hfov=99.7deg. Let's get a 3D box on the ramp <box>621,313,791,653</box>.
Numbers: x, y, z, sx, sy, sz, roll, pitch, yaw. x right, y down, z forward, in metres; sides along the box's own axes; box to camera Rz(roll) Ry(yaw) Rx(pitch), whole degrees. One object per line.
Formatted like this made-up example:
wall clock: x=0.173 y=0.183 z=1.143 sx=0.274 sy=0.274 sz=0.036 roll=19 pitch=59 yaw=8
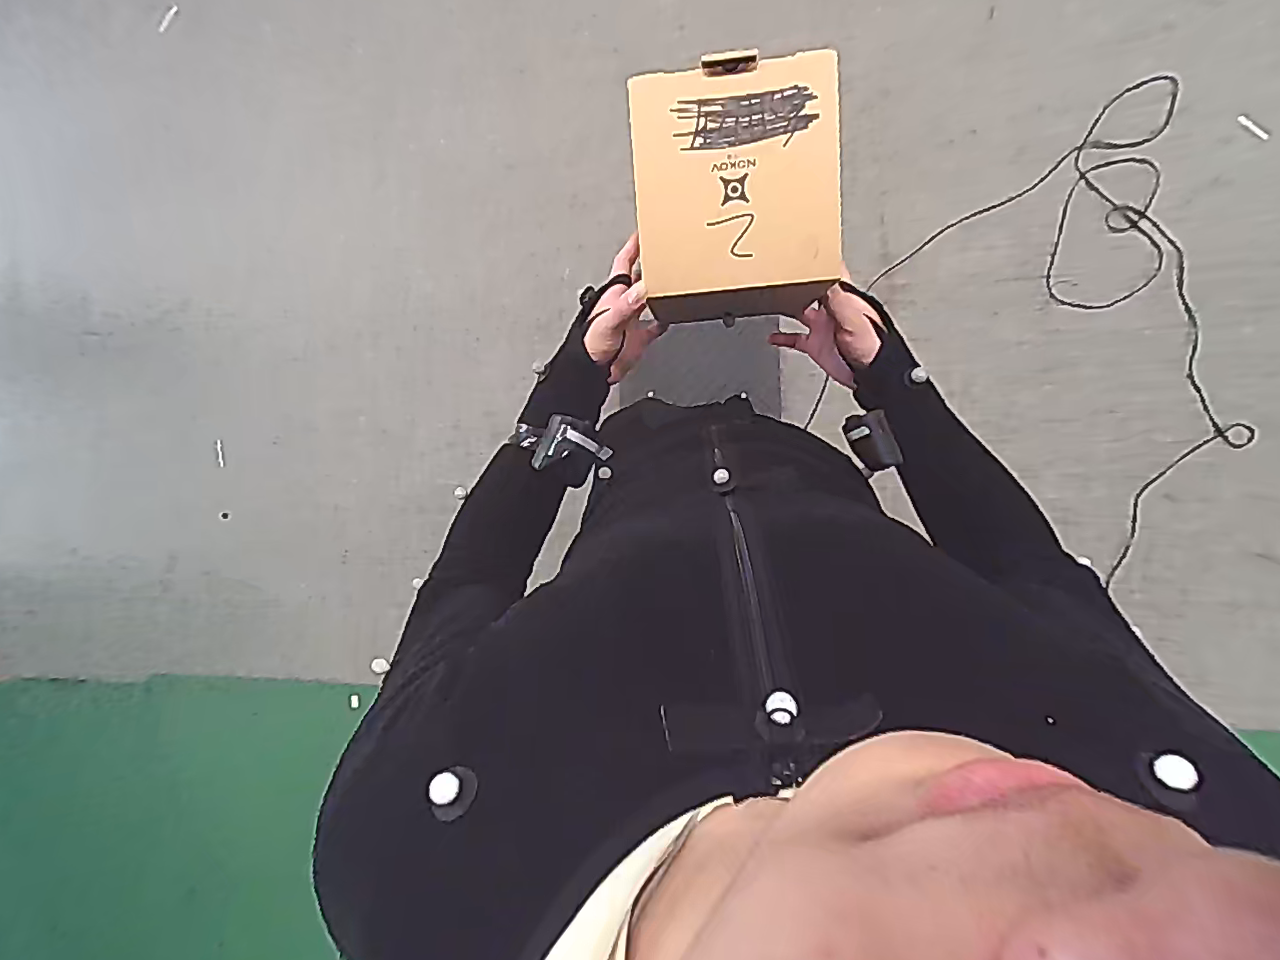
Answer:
ramp: x=0.187 y=0.010 z=1.619 sx=0.509 sy=0.206 sz=0.991 roll=-3 pitch=98 yaw=10
